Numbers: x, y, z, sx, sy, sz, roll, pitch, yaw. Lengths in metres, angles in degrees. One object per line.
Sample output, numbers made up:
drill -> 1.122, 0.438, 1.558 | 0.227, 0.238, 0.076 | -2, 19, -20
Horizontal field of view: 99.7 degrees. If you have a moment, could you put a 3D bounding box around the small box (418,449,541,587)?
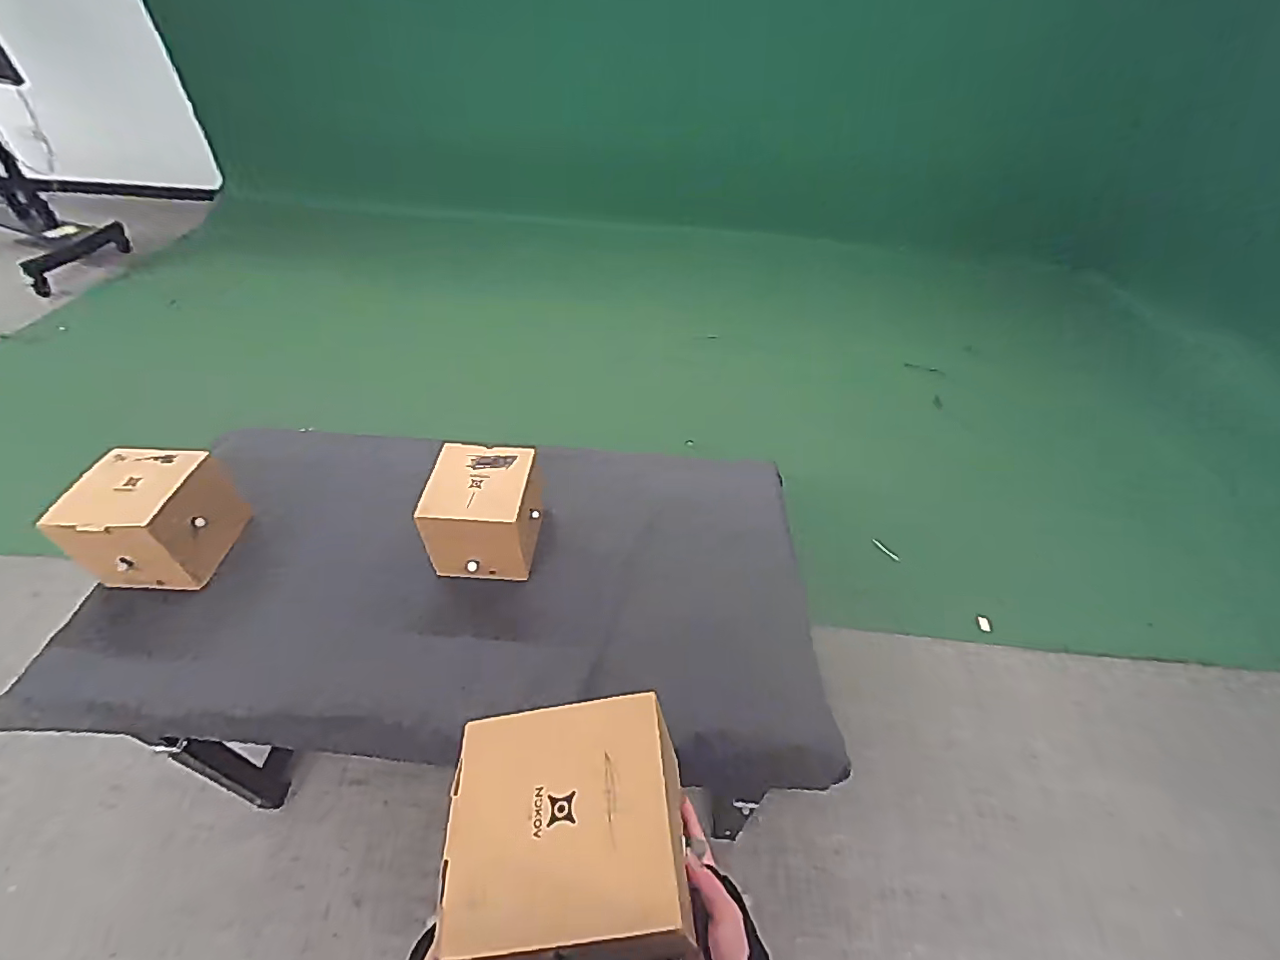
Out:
small box -> -0.275, 0.069, 0.977 | 0.168, 0.176, 0.179 | 4, 47, 0

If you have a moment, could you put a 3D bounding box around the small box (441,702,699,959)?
small box -> -0.049, 0.326, 0.485 | 0.179, 0.176, 0.168 | -9, 44, 1

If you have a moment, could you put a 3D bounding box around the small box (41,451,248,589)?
small box -> -0.826, 0.072, 0.931 | 0.168, 0.176, 0.179 | 3, 46, -2
